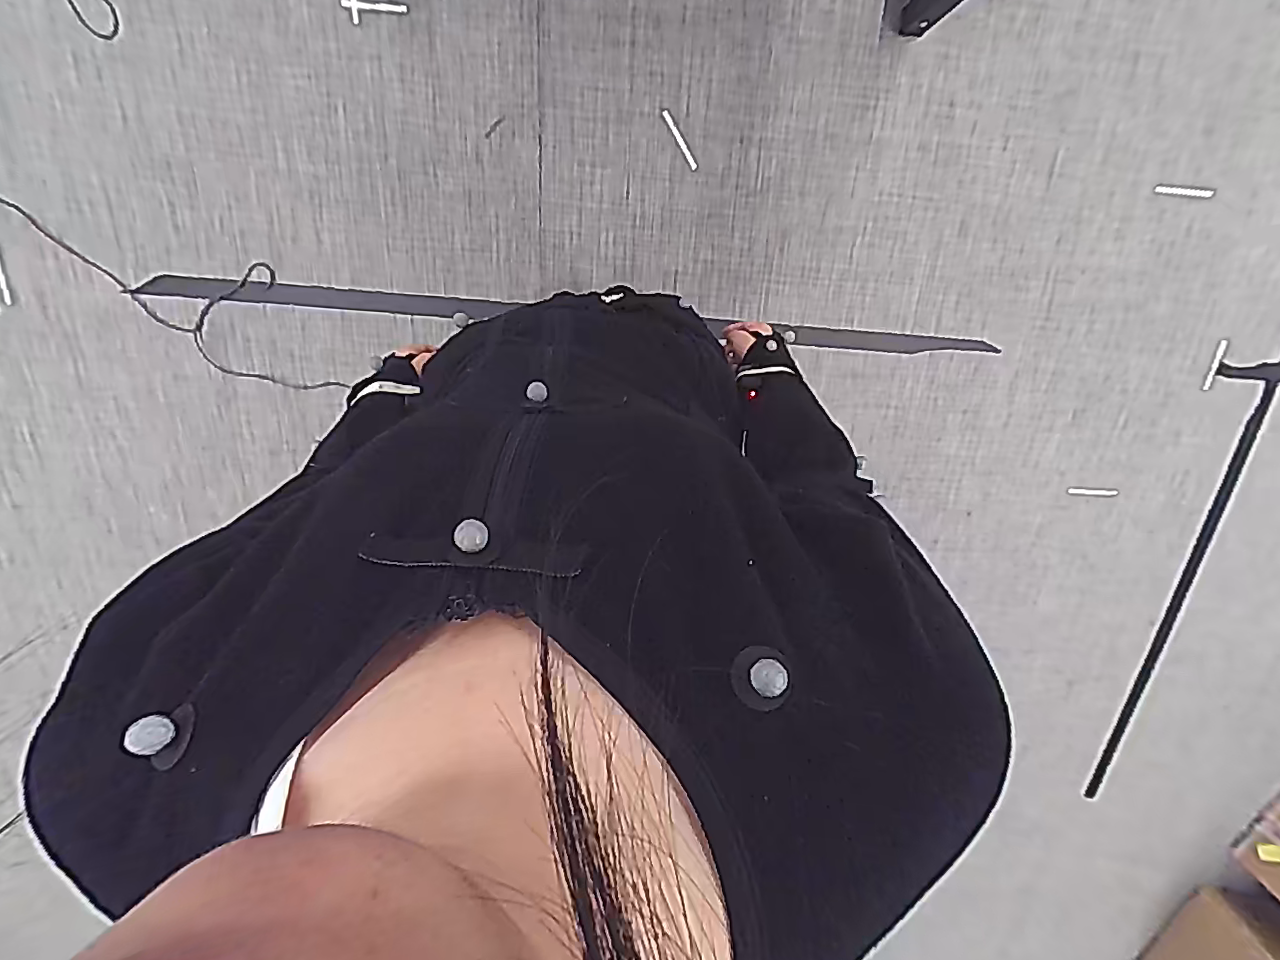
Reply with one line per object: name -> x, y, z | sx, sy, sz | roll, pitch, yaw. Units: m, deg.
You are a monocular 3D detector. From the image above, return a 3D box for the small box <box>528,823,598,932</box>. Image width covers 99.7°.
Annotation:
small box -> -0.200, 1.062, 1.451 | 0.168, 0.176, 0.179 | -2, 109, -2

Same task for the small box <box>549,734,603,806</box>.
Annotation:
small box -> -0.206, 0.952, 1.761 | 0.168, 0.176, 0.179 | -1, 109, -2

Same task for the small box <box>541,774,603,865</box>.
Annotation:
small box -> -0.197, 1.009, 1.608 | 0.168, 0.176, 0.179 | -3, 110, -2
